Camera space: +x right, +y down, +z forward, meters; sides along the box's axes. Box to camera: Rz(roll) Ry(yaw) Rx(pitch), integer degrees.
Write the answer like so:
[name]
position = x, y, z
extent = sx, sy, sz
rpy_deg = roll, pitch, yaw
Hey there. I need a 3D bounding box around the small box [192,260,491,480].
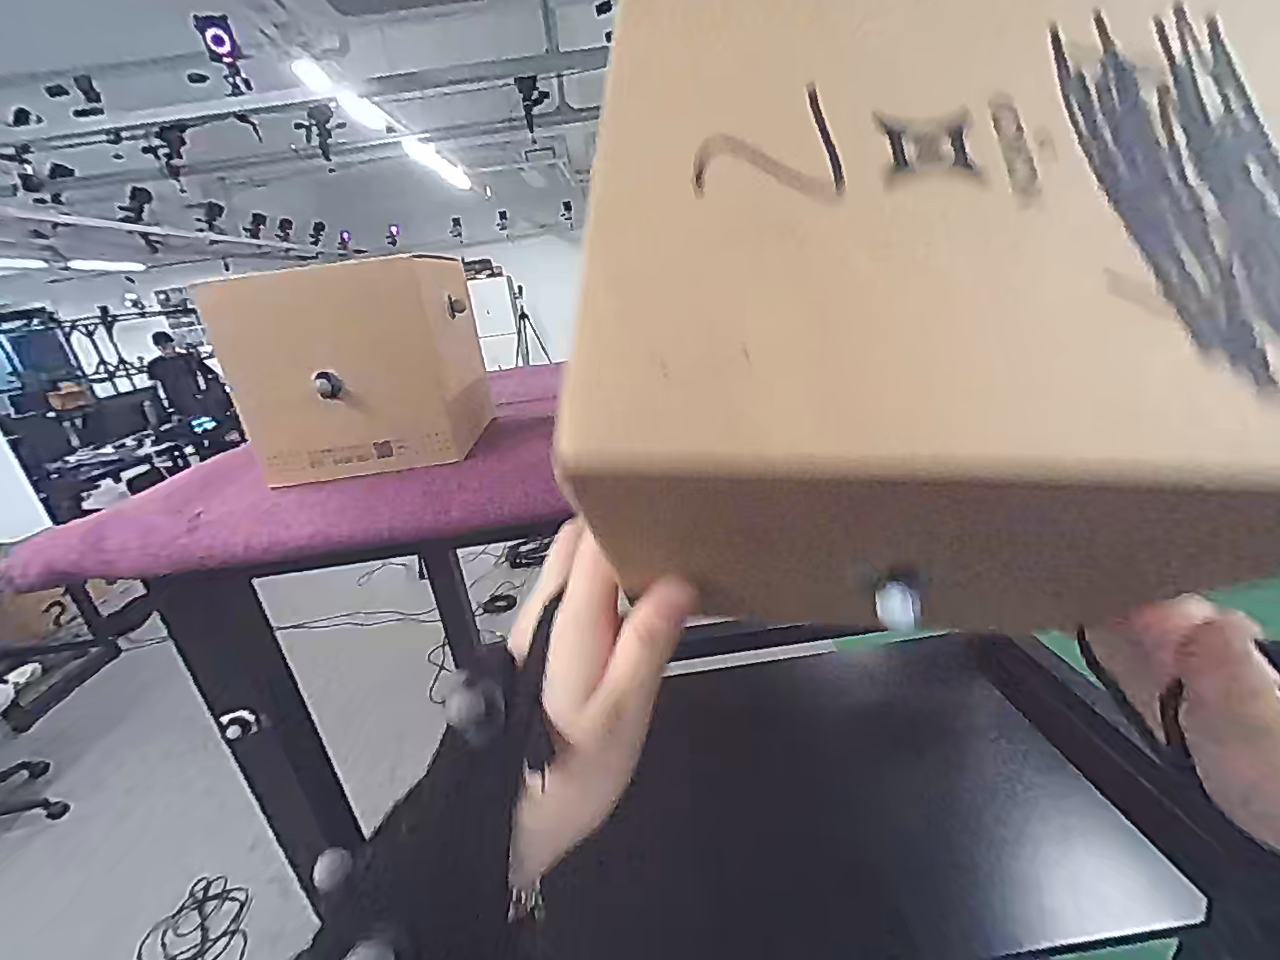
[small box]
position = -0.248, -0.104, 0.506
extent = 0.168, 0.176, 0.179
rpy_deg = -7, 21, -2
